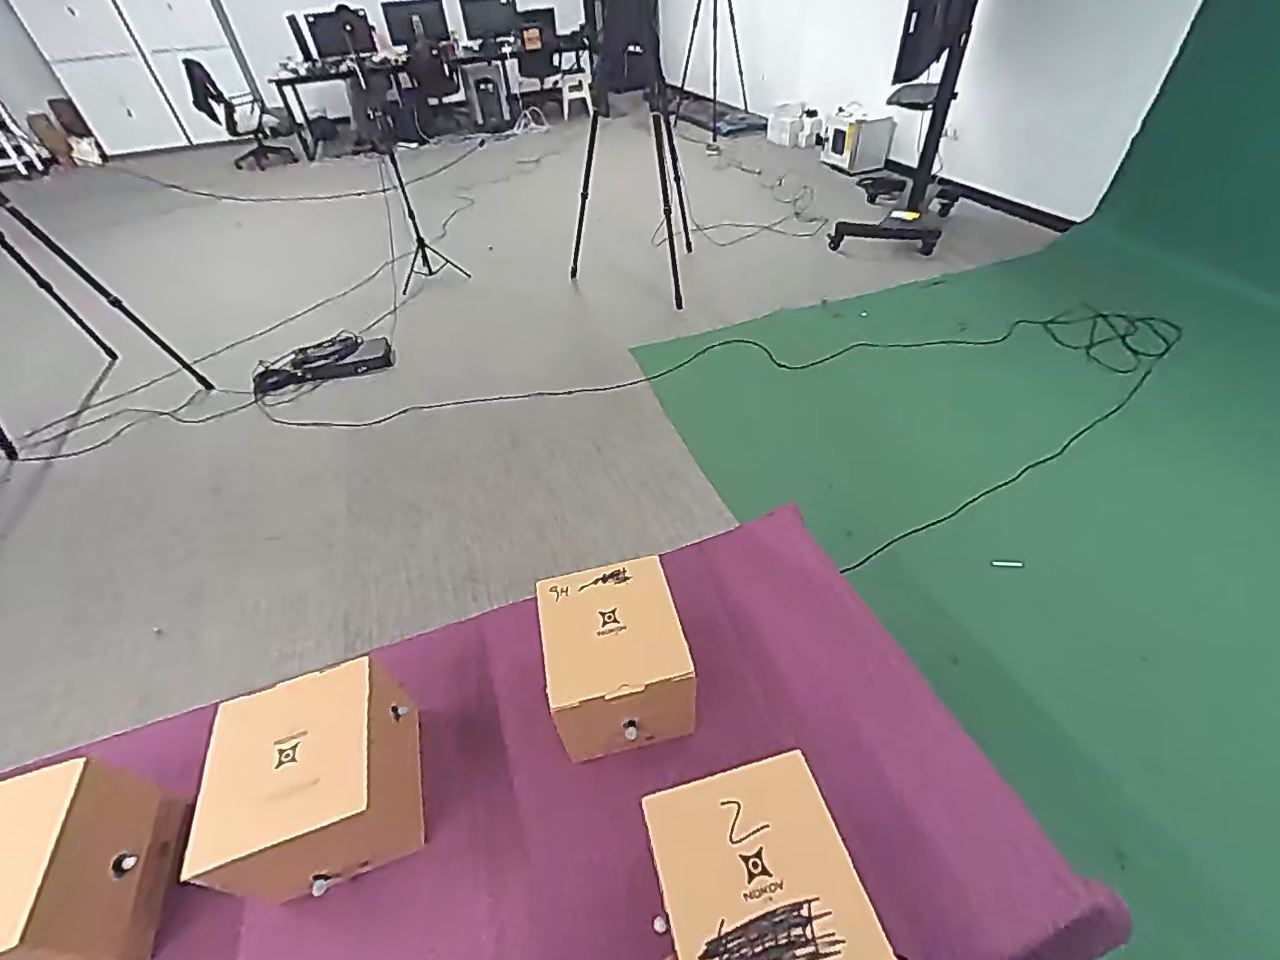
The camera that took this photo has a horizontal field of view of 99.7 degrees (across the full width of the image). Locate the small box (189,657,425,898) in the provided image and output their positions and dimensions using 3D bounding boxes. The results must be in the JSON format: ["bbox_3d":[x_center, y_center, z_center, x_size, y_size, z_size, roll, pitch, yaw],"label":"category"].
[{"bbox_3d":[-0.363,0.344,0.629,0.168,0.176,0.179,-17,46,-10],"label":"small box"}]

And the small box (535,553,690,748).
[{"bbox_3d":[-0.034,0.229,0.710,0.168,0.176,0.179,-12,46,-7],"label":"small box"}]

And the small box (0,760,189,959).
[{"bbox_3d":[-0.630,0.430,0.566,0.179,0.176,0.168,-16,45,-11],"label":"small box"}]
